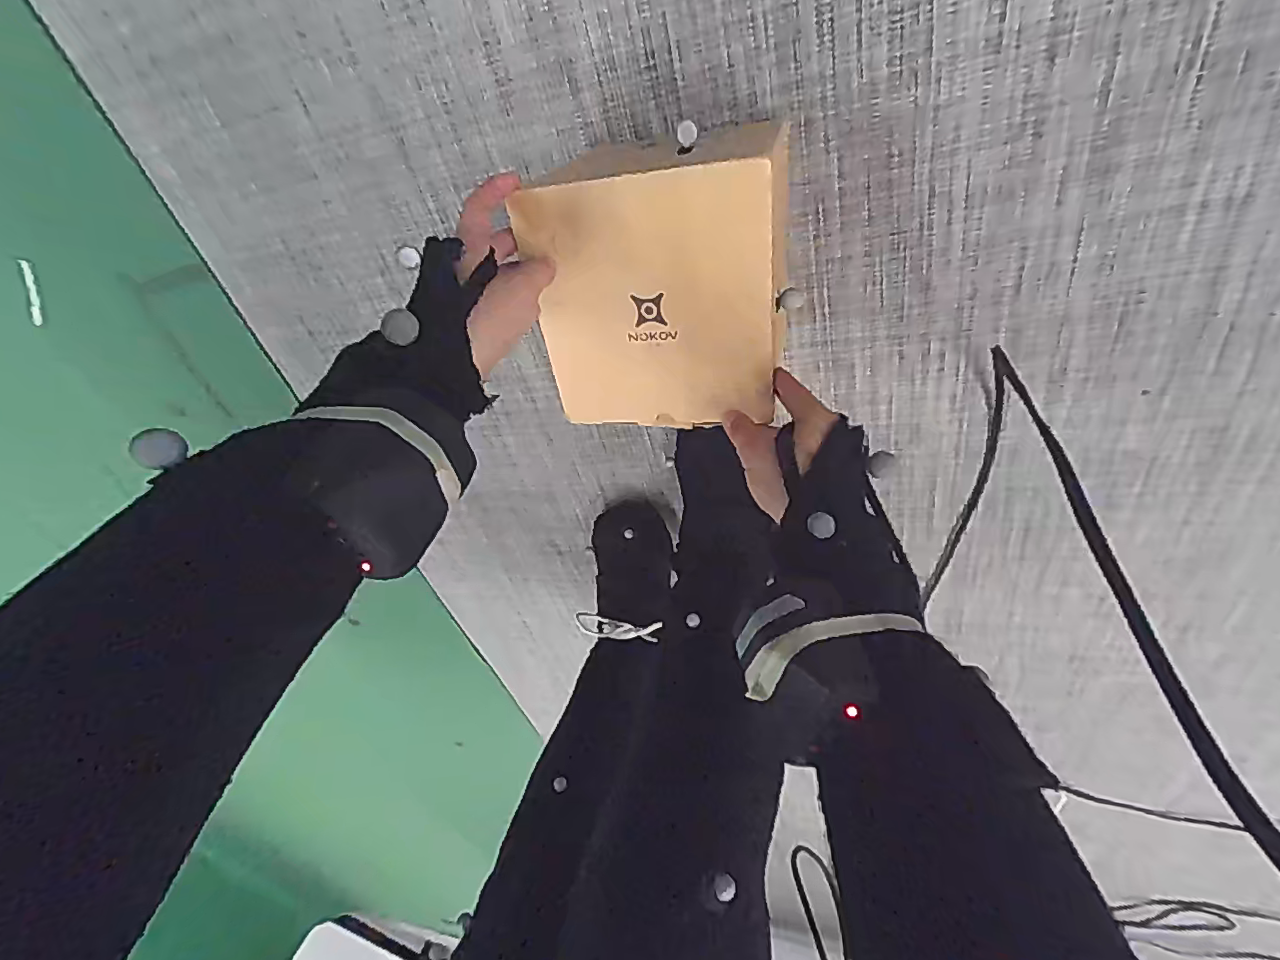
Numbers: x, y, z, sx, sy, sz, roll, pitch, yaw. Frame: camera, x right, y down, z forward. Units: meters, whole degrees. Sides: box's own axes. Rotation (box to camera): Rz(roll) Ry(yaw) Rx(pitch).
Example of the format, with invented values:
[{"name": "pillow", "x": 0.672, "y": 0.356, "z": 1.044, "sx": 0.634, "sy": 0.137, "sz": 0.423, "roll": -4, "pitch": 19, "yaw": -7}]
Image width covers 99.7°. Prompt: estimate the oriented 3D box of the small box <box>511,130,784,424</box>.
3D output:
[{"name": "small box", "x": 0.025, "y": -0.162, "z": 0.429, "sx": 0.168, "sy": 0.176, "sz": 0.179, "roll": 1, "pitch": 130, "yaw": 16}]
